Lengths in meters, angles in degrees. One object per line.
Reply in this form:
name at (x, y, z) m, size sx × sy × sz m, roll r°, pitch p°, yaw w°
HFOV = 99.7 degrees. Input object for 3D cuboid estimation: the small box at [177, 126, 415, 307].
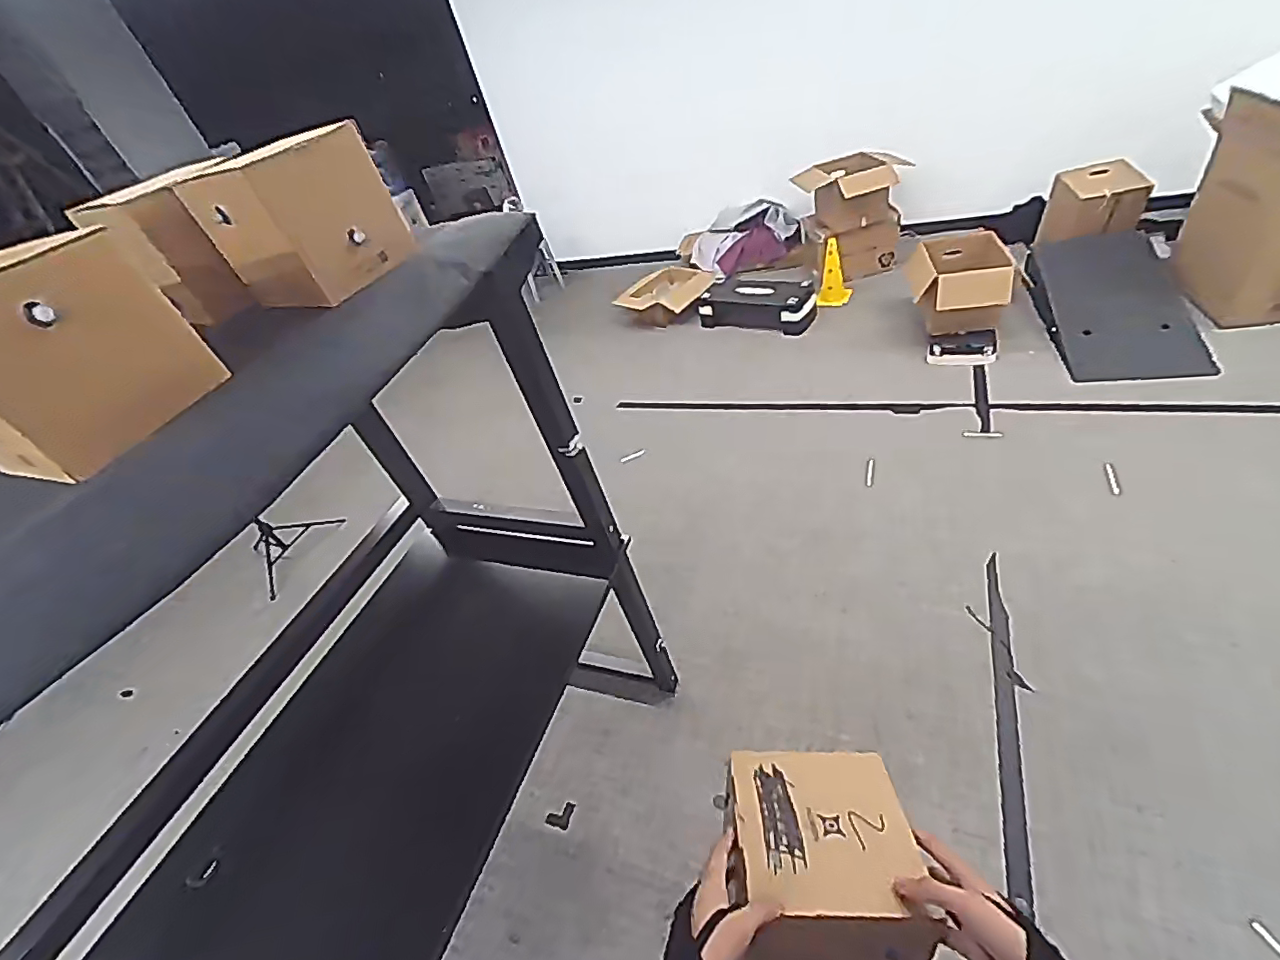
small box at (-0.451, -0.348, 0.732) m, size 0.179 × 0.176 × 0.168 m, roll 11°, pitch 49°, yaw 29°

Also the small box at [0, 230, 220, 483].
small box at (-0.570, -0.121, 0.533) m, size 0.168 × 0.176 × 0.179 m, roll 4°, pitch 47°, yaw 24°
